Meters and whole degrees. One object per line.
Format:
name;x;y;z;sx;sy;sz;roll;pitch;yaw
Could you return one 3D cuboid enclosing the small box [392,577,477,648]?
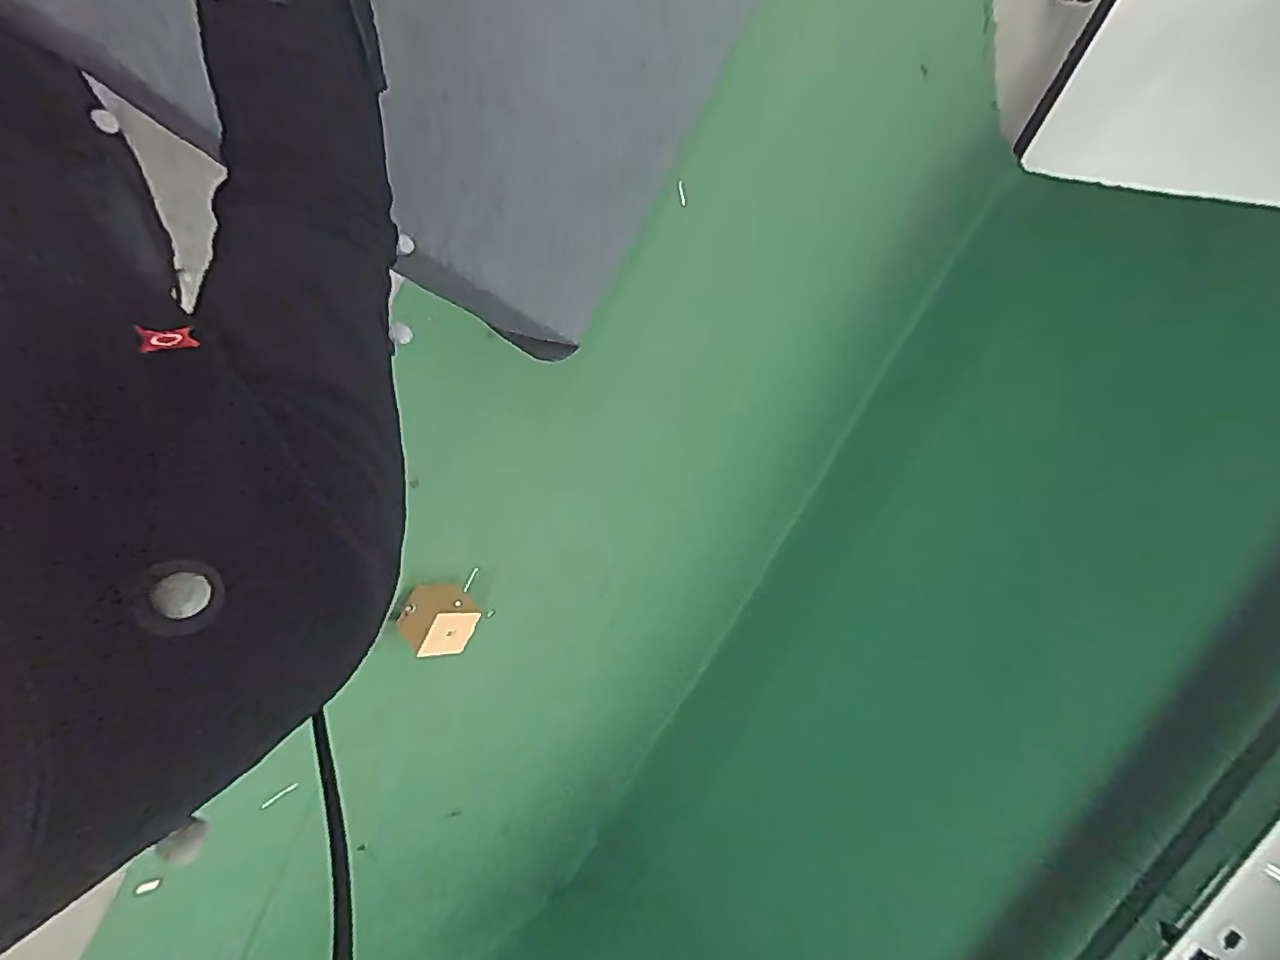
small box;-0.693;0.439;1.817;0.179;0.176;0.168;17;104;-54
